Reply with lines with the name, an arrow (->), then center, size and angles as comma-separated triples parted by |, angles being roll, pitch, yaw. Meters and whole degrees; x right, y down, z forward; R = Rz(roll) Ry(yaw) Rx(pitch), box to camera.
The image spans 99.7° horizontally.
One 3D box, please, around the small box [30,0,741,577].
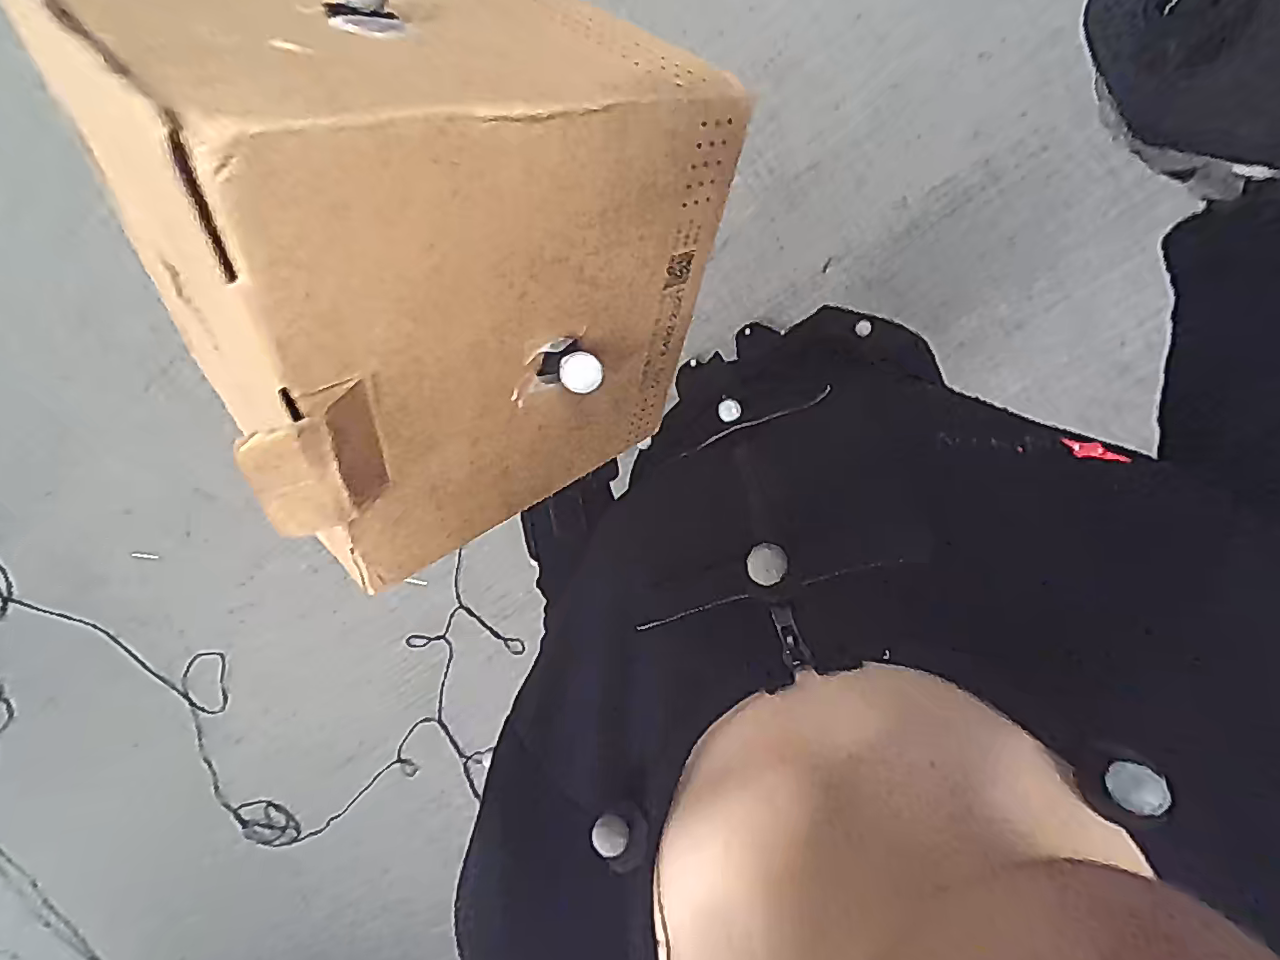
small box -> -0.087, -0.100, 0.231 | 0.179, 0.176, 0.168 | 43, 143, 21
